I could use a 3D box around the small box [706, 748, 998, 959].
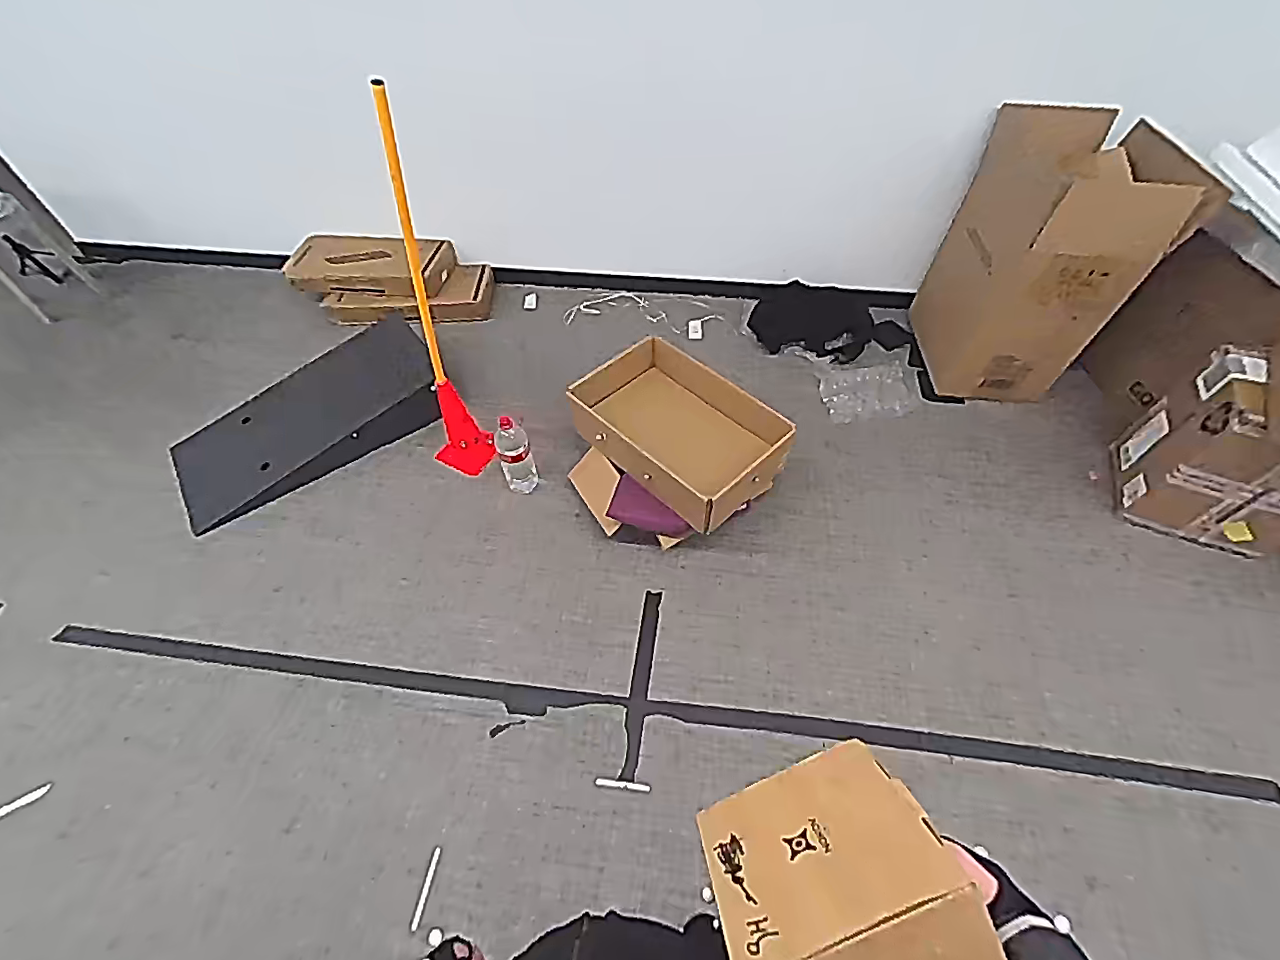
[{"bbox_3d":[0.179,0.378,0.461,0.179,0.168,0.176,-24,96,-1],"label":"small box"}]
